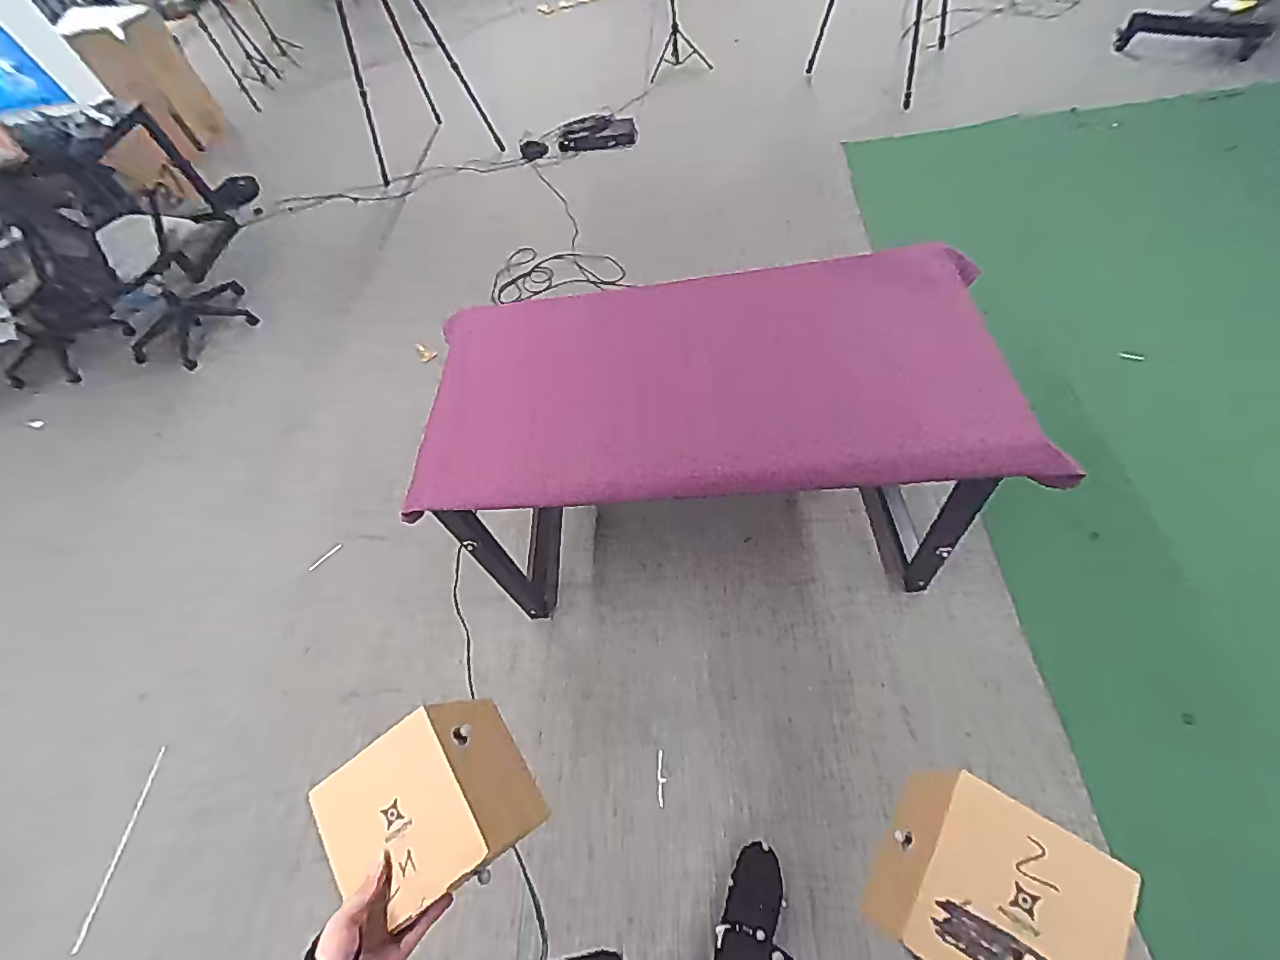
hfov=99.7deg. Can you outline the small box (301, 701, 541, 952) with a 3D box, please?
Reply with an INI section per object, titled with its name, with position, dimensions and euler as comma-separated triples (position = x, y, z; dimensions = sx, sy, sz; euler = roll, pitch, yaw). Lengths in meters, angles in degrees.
[small box]
position = -0.248, 0.386, 0.642
dimensions = 0.168, 0.176, 0.179
euler = -36, 67, -1
